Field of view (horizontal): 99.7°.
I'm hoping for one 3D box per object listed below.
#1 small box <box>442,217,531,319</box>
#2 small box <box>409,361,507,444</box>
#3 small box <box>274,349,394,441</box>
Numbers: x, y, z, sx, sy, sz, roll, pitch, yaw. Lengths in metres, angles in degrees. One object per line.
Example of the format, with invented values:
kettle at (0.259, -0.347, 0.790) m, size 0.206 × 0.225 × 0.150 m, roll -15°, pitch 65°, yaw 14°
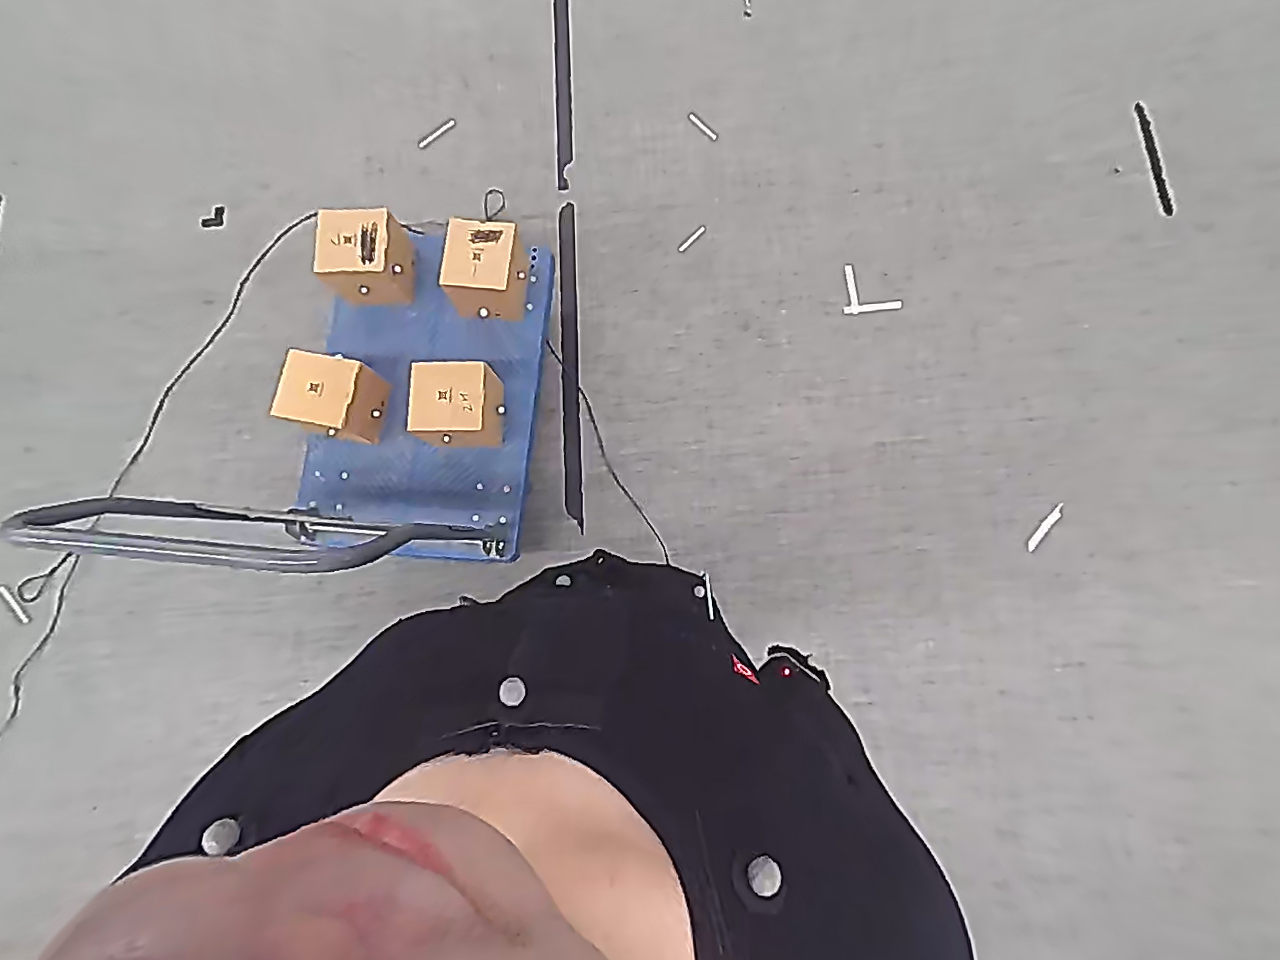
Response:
small box at (-0.381, -0.534, 1.373) m, size 0.168 × 0.176 × 0.179 m, roll 6°, pitch 82°, yaw 2°
small box at (-0.436, -0.183, 1.319) m, size 0.179 × 0.176 × 0.168 m, roll 0°, pitch 81°, yaw 1°
small box at (-0.743, -0.202, 1.330) m, size 0.179 × 0.176 × 0.168 m, roll 10°, pitch 81°, yaw 1°
